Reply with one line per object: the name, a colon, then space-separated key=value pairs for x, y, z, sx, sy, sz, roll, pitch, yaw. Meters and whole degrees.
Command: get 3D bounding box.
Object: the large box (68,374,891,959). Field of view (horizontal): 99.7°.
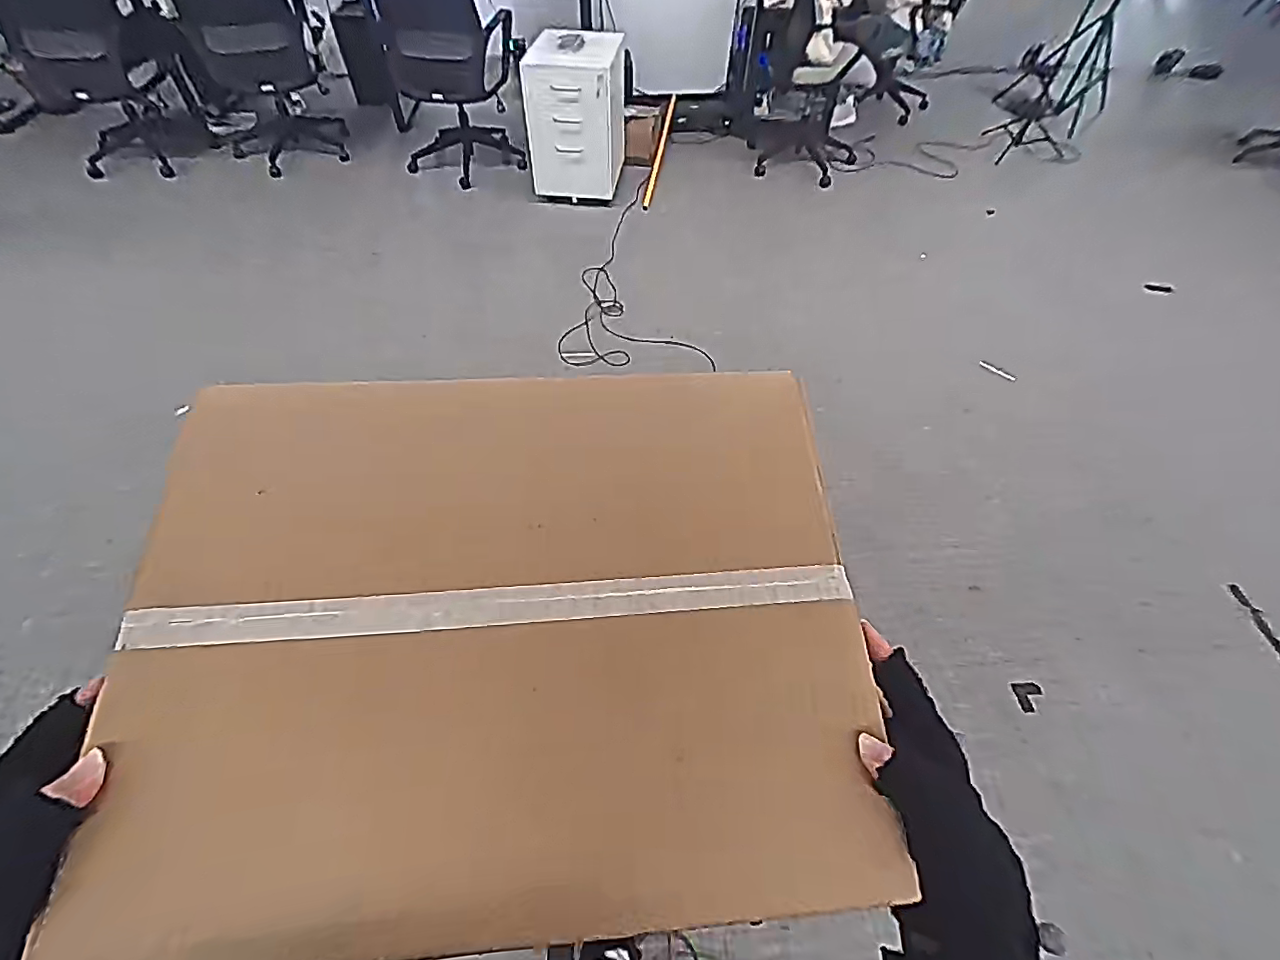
large box: x=-0.085 y=0.134 z=0.456 sx=0.408 sy=0.320 sz=0.320 roll=-3 pitch=66 yaw=-5
